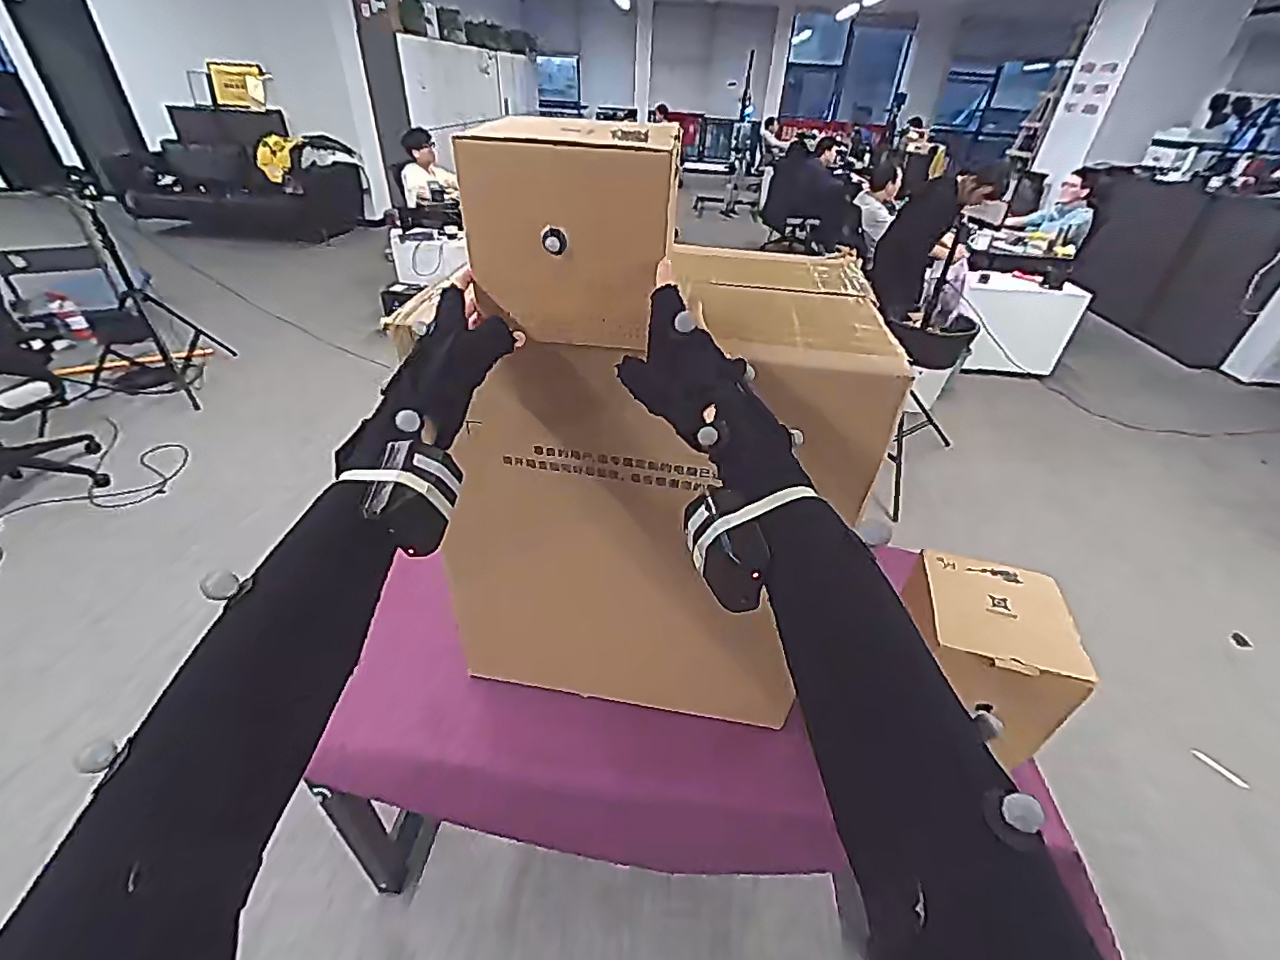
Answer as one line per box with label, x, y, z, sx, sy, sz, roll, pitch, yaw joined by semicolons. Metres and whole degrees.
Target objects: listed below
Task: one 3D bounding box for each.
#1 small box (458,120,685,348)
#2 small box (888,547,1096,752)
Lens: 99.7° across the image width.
small box;-0.052;-0.241;0.531;0.179;0.176;0.168;5;38;3
small box;0.441;0.222;0.715;0.168;0.176;0.179;13;37;12
